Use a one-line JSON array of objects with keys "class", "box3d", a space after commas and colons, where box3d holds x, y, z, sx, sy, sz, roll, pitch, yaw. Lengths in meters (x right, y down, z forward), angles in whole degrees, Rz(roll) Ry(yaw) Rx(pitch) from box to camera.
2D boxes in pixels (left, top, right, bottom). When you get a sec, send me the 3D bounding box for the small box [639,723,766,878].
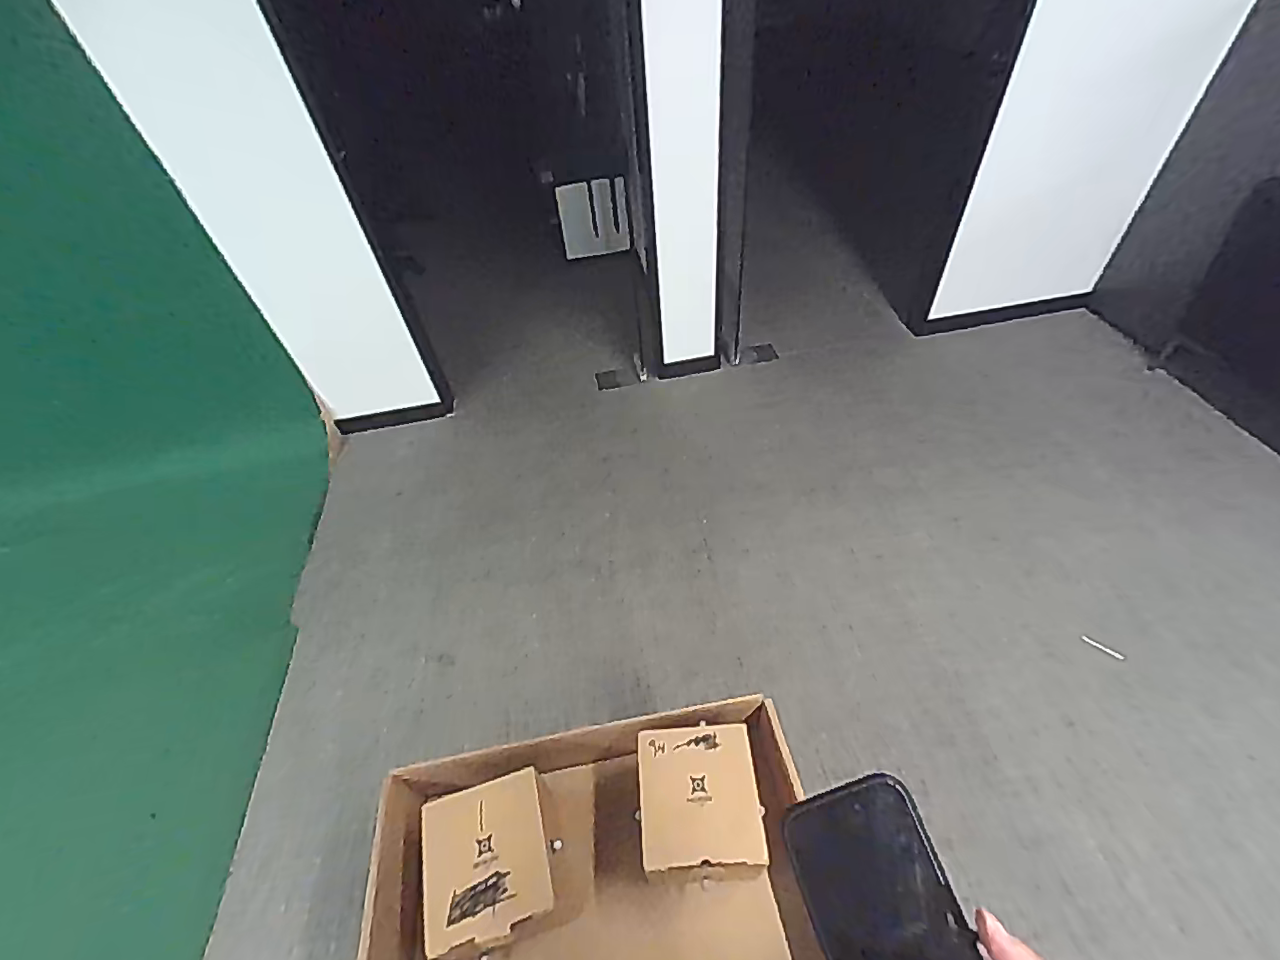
[{"class": "small box", "box3d": [0.089, 0.487, 0.815, 0.168, 0.176, 0.179, -5, 49, 2]}]
